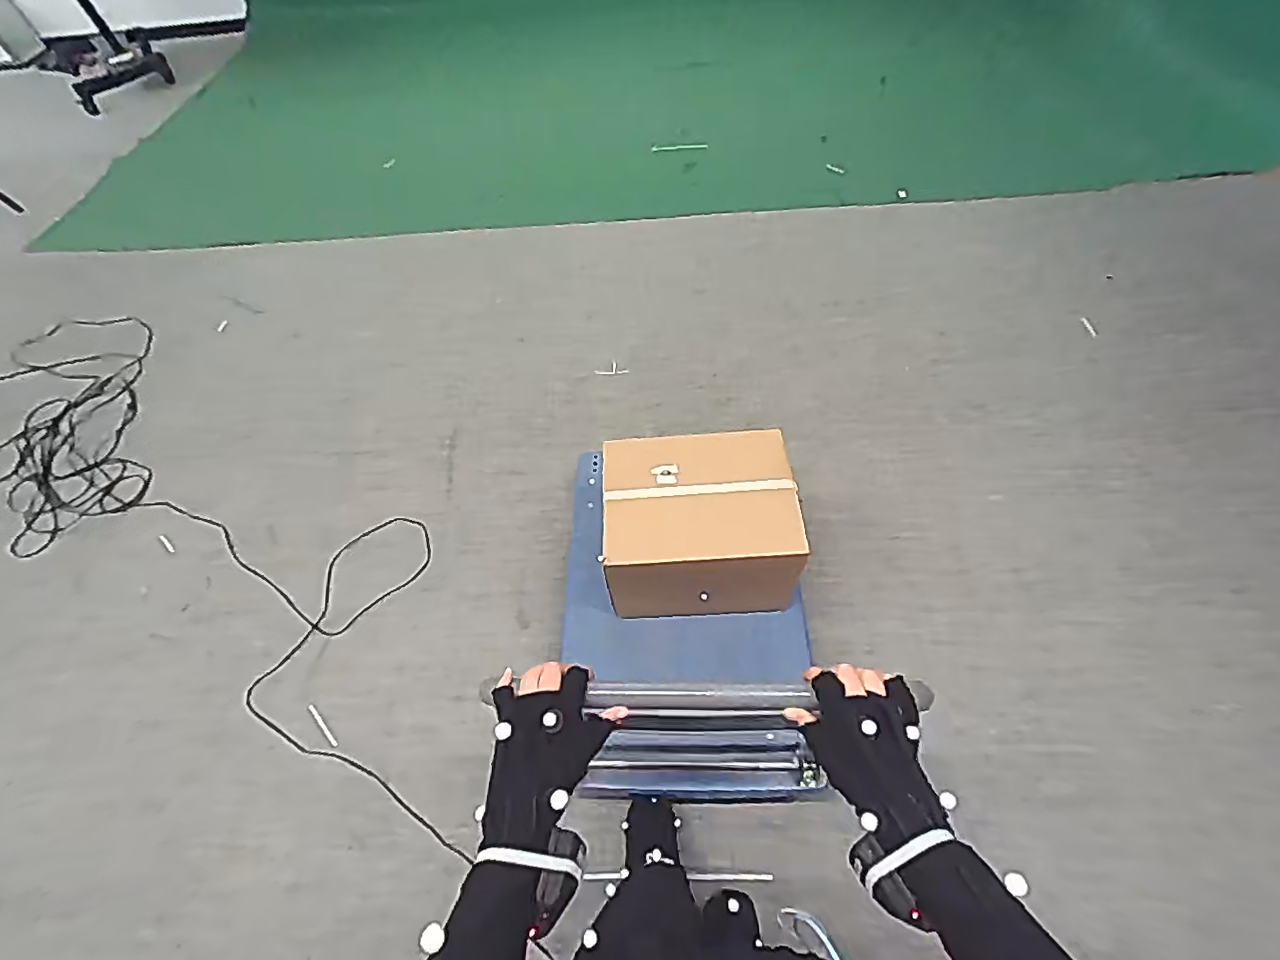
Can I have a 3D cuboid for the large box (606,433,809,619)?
[{"bbox_3d":[0.139,0.119,1.267,0.408,0.320,0.320,-4,55,2],"label":"large box"}]
